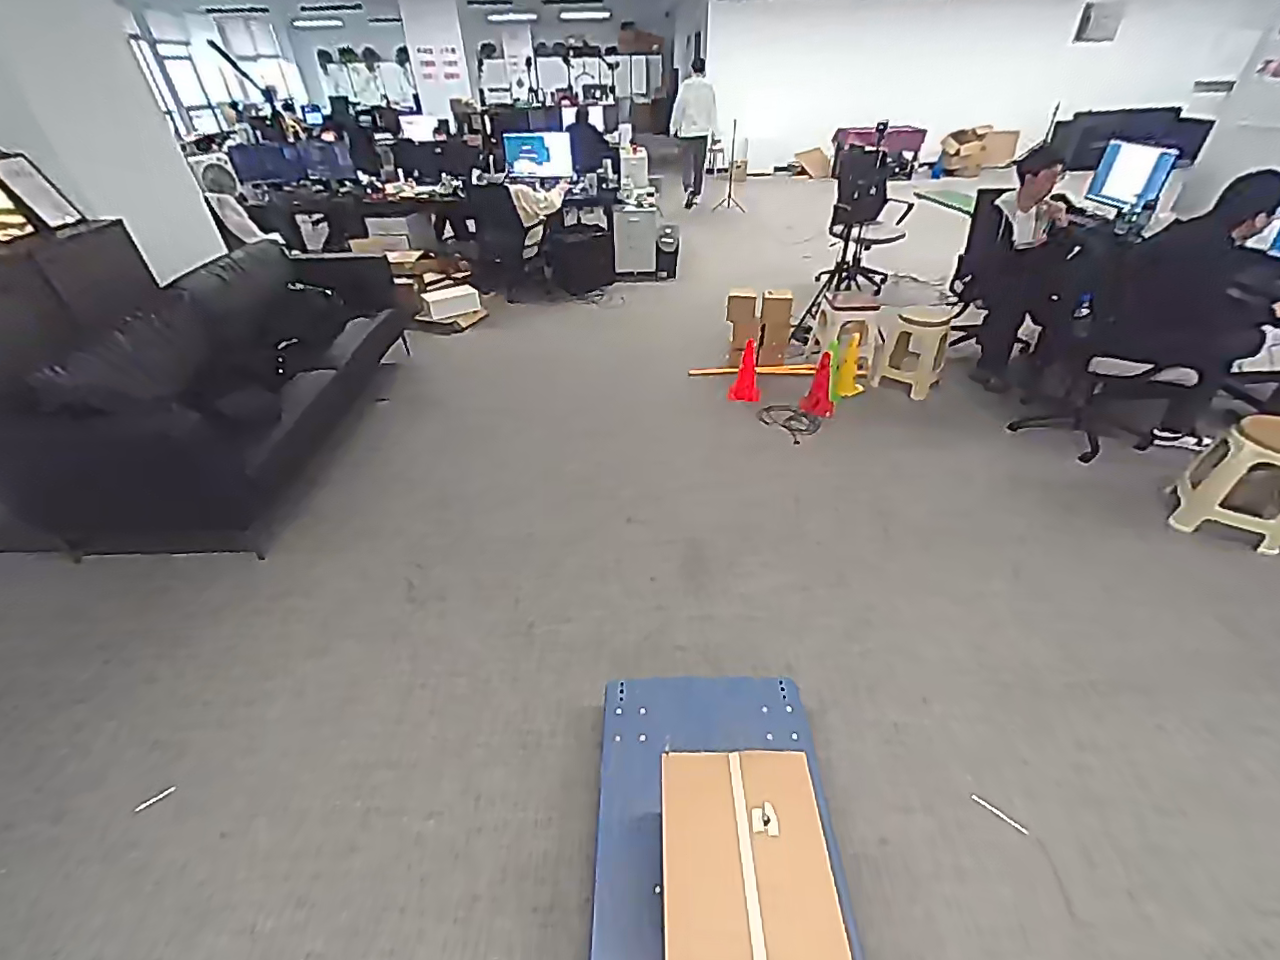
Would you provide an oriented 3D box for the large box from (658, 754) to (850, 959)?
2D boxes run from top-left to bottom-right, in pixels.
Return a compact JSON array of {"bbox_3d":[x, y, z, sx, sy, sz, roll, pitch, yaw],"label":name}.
[{"bbox_3d":[0.200,0.838,1.103,0.320,0.320,0.408,-1,36,1],"label":"large box"}]
